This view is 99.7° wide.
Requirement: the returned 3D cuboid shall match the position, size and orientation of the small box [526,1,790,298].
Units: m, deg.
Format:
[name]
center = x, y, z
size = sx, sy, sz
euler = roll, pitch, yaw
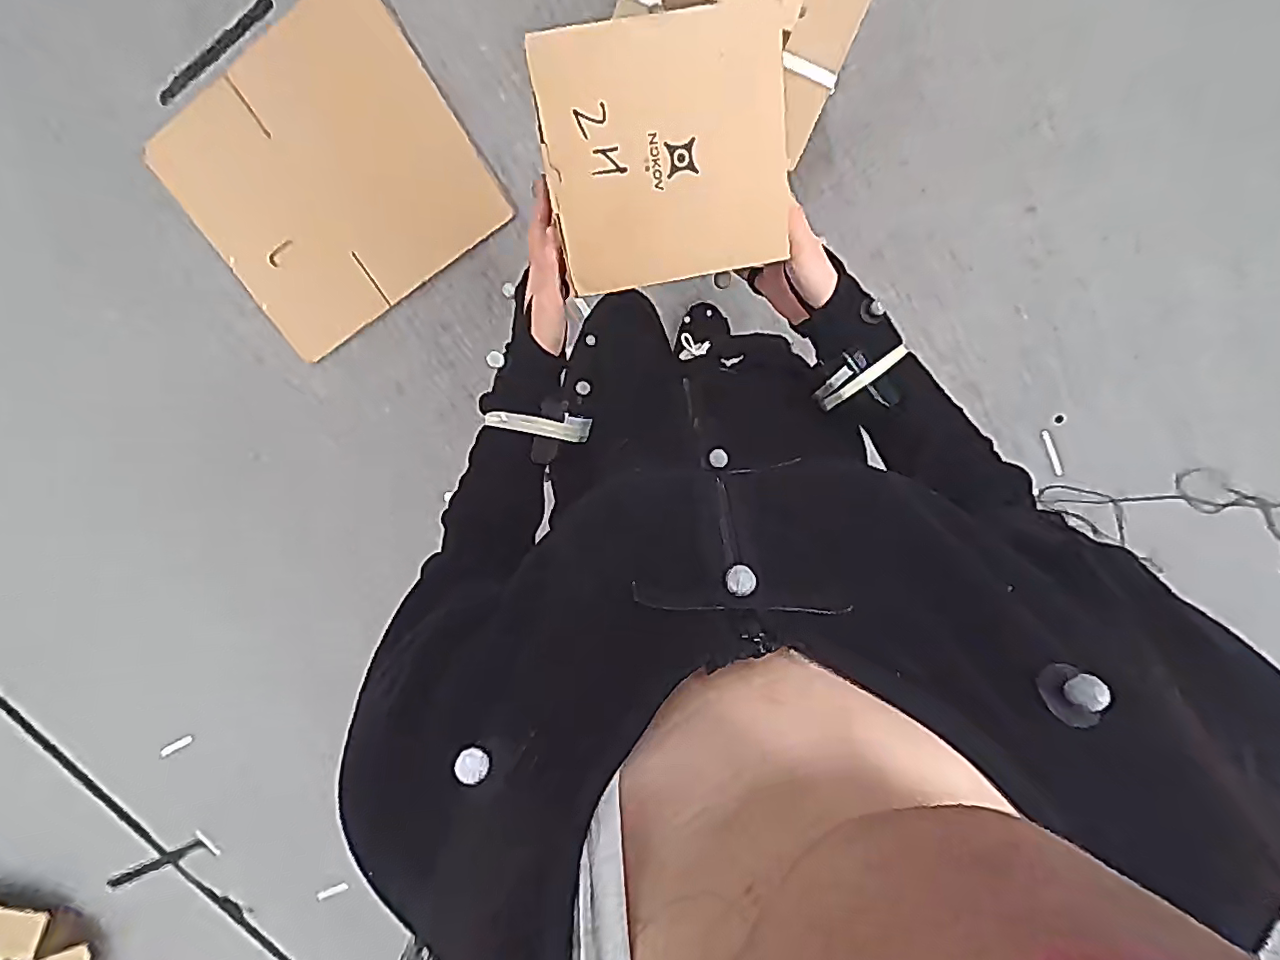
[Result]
[small box]
center = 0.010, -0.261, 0.456
size = 0.179, 0.176, 0.168
euler = -12, 115, -3
